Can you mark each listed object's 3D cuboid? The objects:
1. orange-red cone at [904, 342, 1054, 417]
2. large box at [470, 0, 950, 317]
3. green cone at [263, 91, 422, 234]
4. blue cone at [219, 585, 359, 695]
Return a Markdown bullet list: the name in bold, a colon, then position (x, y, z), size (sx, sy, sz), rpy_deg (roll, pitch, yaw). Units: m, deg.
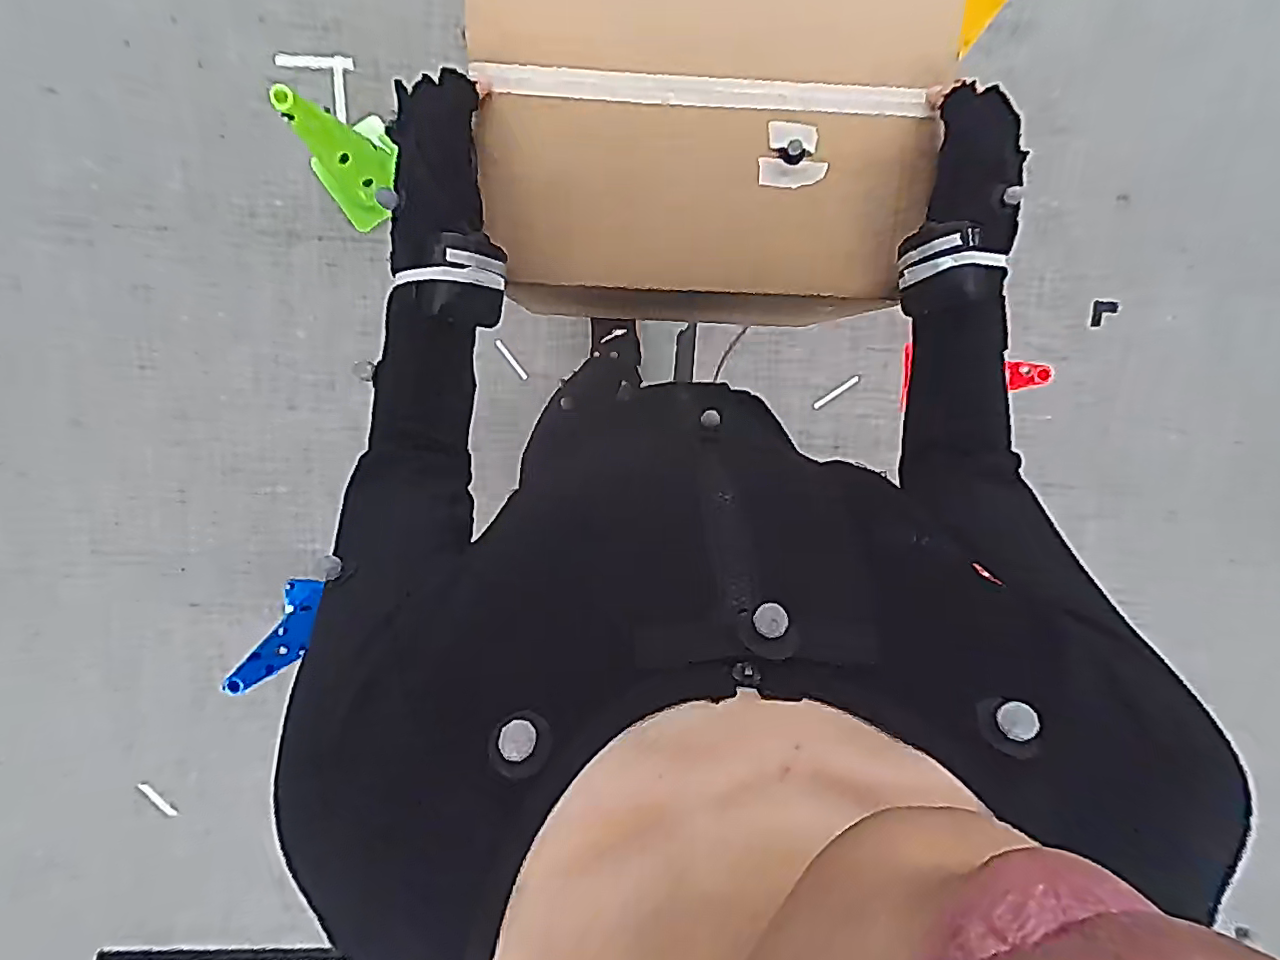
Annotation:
- **orange-red cone**: position (0.817, -0.247, 1.279), size (0.198, 0.360, 0.199), rpy_deg (0, 98, -4)
- **large box**: position (0.049, -0.359, 0.600), size (0.408, 0.320, 0.320), rpy_deg (1, 102, -4)
- **green cone**: position (-0.645, -0.697, 1.121), size (0.202, 0.368, 0.200), rpy_deg (-35, 99, 4)
- **blue cone**: position (-0.851, 0.401, 1.302), size (0.192, 0.380, 0.193), rpy_deg (5, 98, -3)
